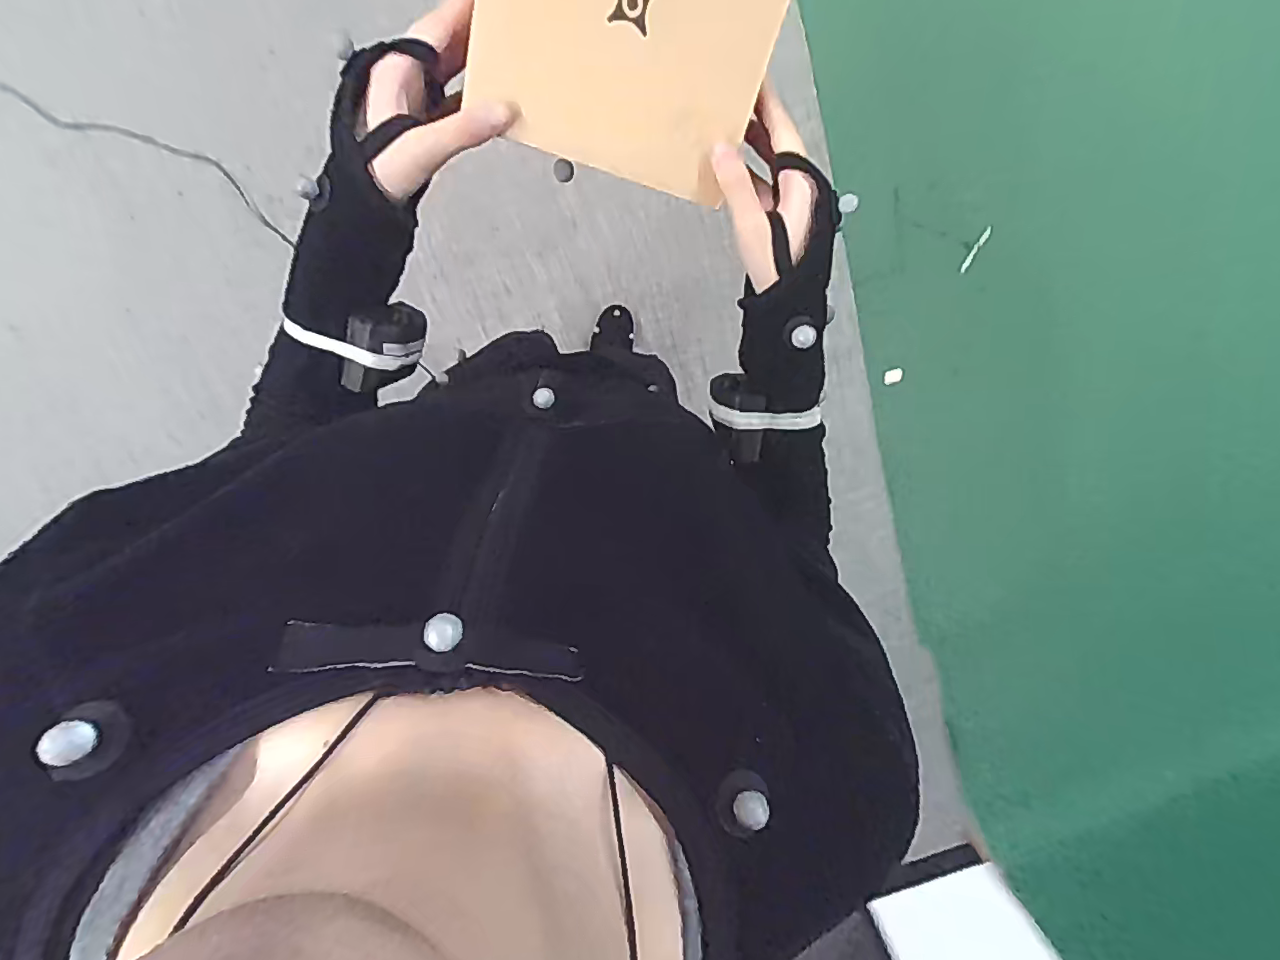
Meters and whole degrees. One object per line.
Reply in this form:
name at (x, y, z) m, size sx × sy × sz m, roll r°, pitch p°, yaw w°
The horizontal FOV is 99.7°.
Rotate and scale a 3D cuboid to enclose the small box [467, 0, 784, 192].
small box at (-0.005, -0.313, 0.360) m, size 0.168 × 0.176 × 0.179 m, roll 12°, pitch 118°, yaw -11°
